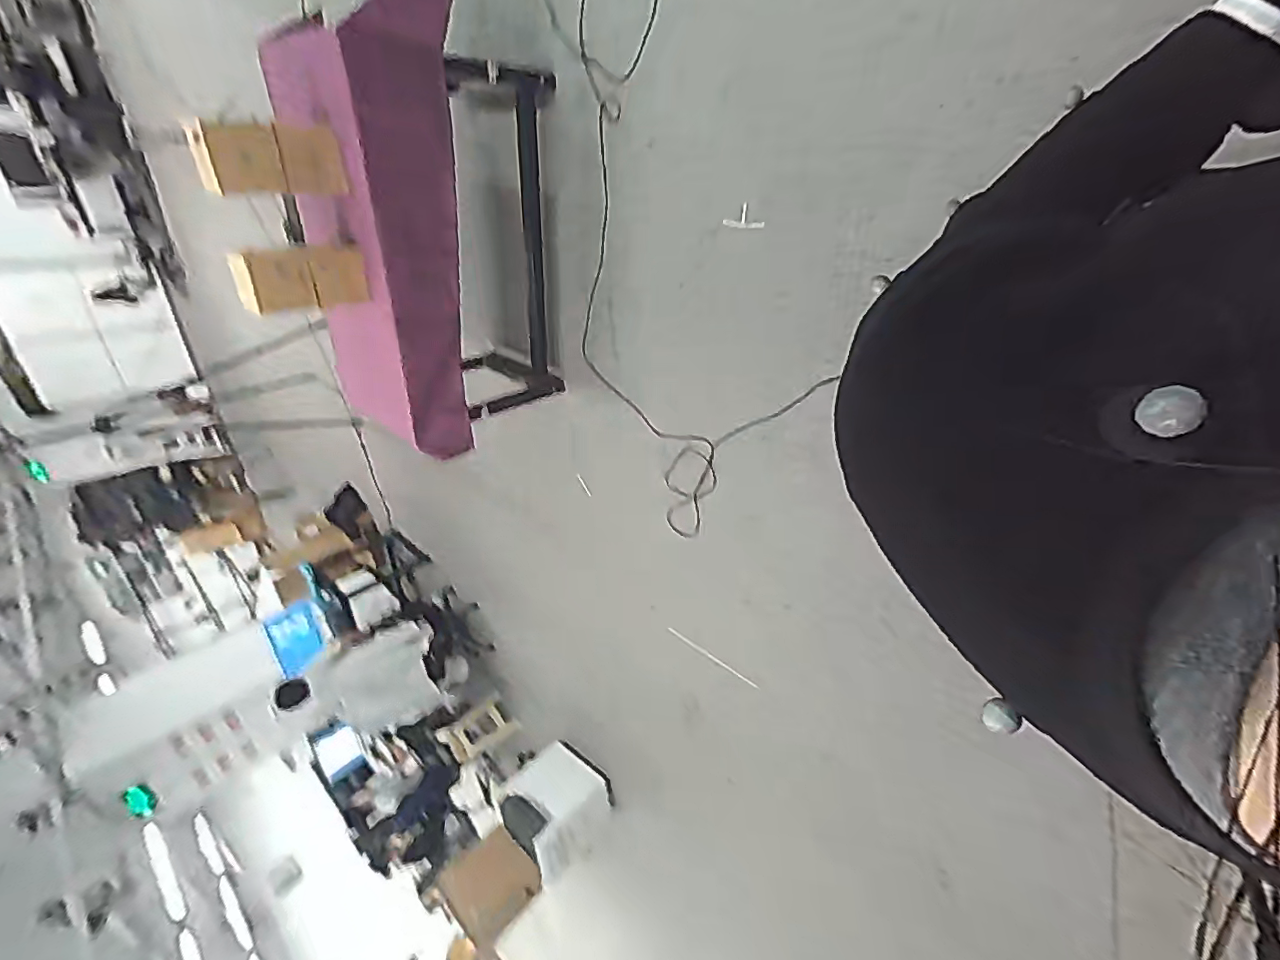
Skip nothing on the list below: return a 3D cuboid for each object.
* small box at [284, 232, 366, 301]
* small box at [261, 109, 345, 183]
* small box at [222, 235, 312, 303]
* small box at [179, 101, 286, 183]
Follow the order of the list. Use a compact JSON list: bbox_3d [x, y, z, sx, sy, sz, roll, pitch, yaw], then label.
[{"bbox_3d":[-1.015,-0.697,1.754,0.168,0.176,0.179,28,128,34],"label":"small box"},{"bbox_3d":[-0.993,-0.973,1.580,0.168,0.176,0.179,25,128,35],"label":"small box"},{"bbox_3d":[-1.124,-0.647,1.644,0.179,0.176,0.168,28,127,35],"label":"small box"},{"bbox_3d":[-1.102,-0.914,1.471,0.168,0.176,0.179,26,128,35],"label":"small box"}]
